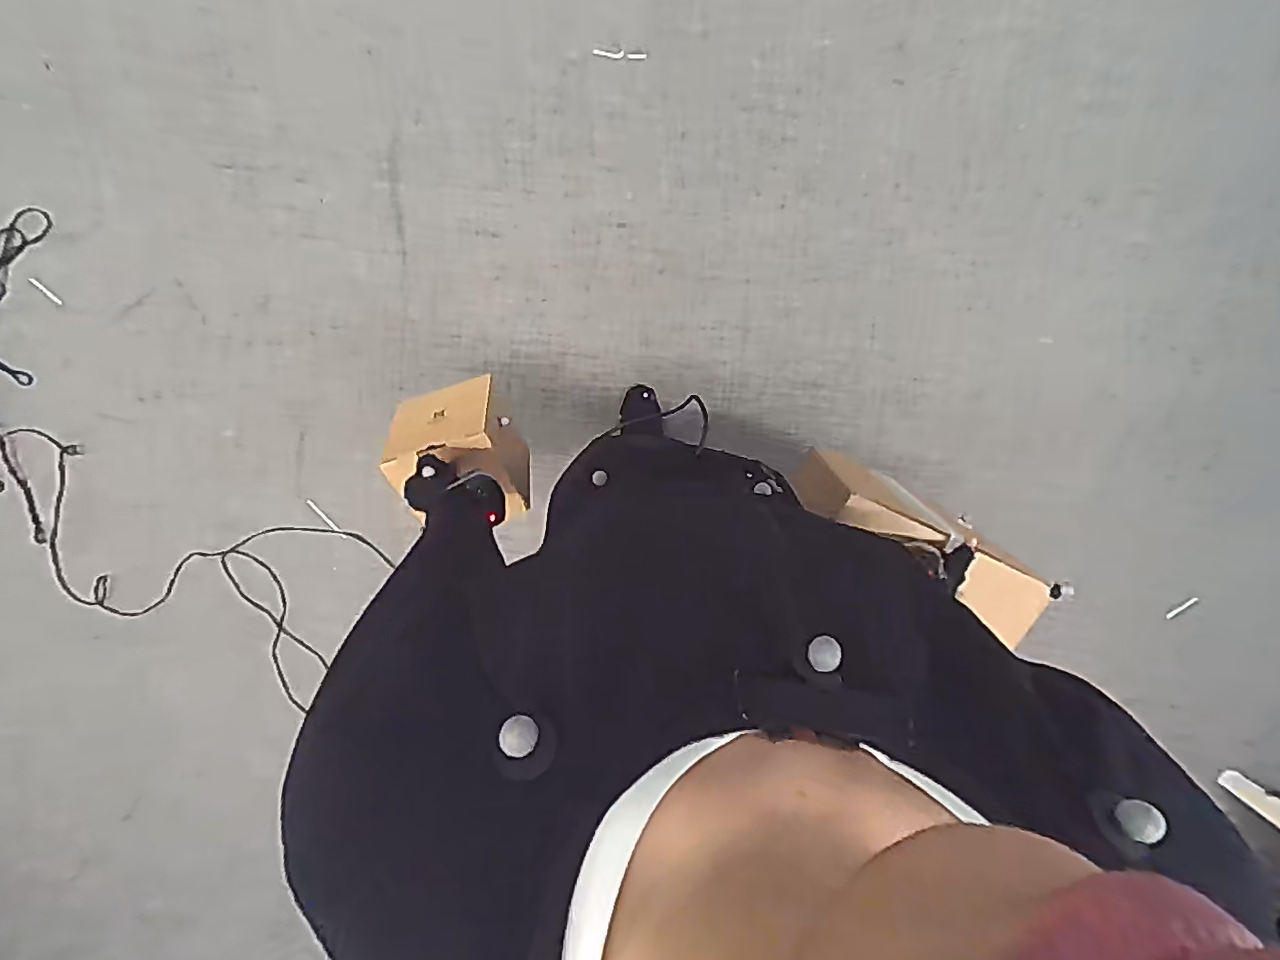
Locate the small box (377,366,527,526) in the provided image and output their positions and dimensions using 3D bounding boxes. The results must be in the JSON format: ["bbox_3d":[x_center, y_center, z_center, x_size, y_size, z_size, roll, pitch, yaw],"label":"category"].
[{"bbox_3d":[-0.293,-0.055,0.886,0.168,0.179,0.176,-17,131,3],"label":"small box"}]
